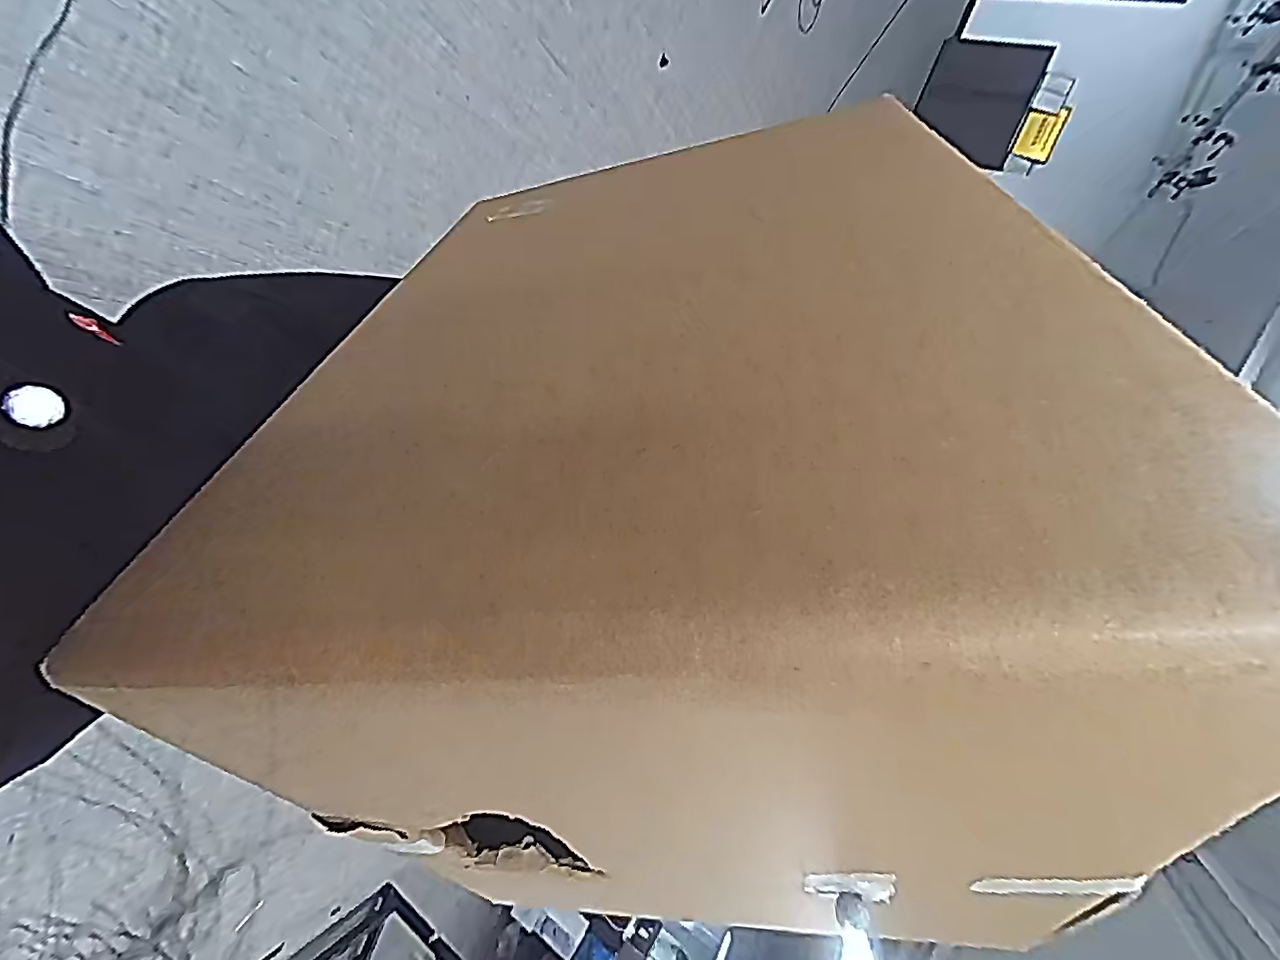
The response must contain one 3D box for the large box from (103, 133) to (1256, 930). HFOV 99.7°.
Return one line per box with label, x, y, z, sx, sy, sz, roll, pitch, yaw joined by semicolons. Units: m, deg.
large box;0.032;0.011;0.369;0.408;0.320;0.320;-81;161;-46
